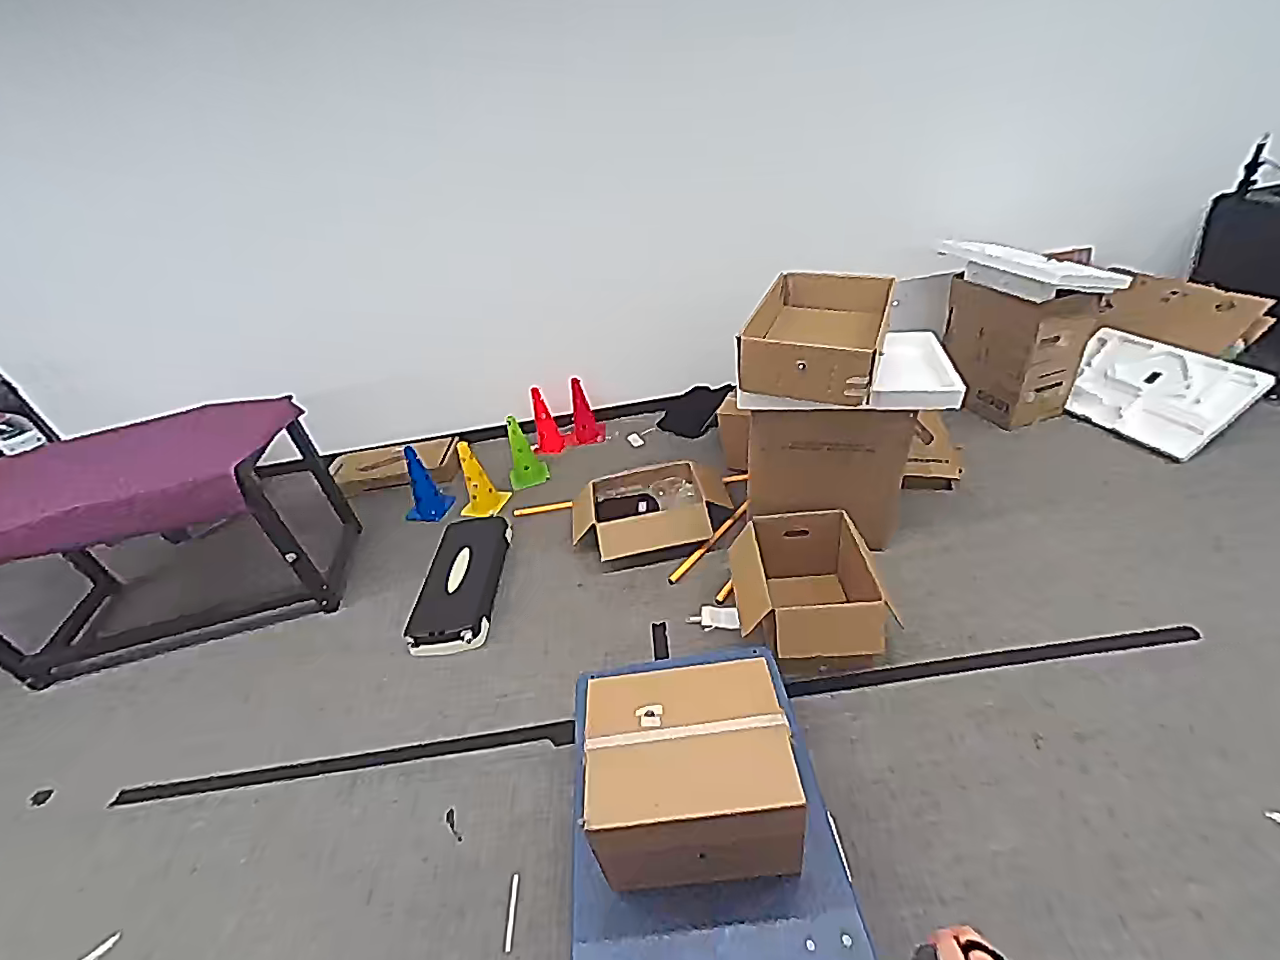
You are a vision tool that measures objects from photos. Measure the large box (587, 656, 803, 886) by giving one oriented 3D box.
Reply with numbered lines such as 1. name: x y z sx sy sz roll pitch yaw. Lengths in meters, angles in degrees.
1. large box: 0.113 0.636 1.188 0.408 0.320 0.320 -9 34 2
